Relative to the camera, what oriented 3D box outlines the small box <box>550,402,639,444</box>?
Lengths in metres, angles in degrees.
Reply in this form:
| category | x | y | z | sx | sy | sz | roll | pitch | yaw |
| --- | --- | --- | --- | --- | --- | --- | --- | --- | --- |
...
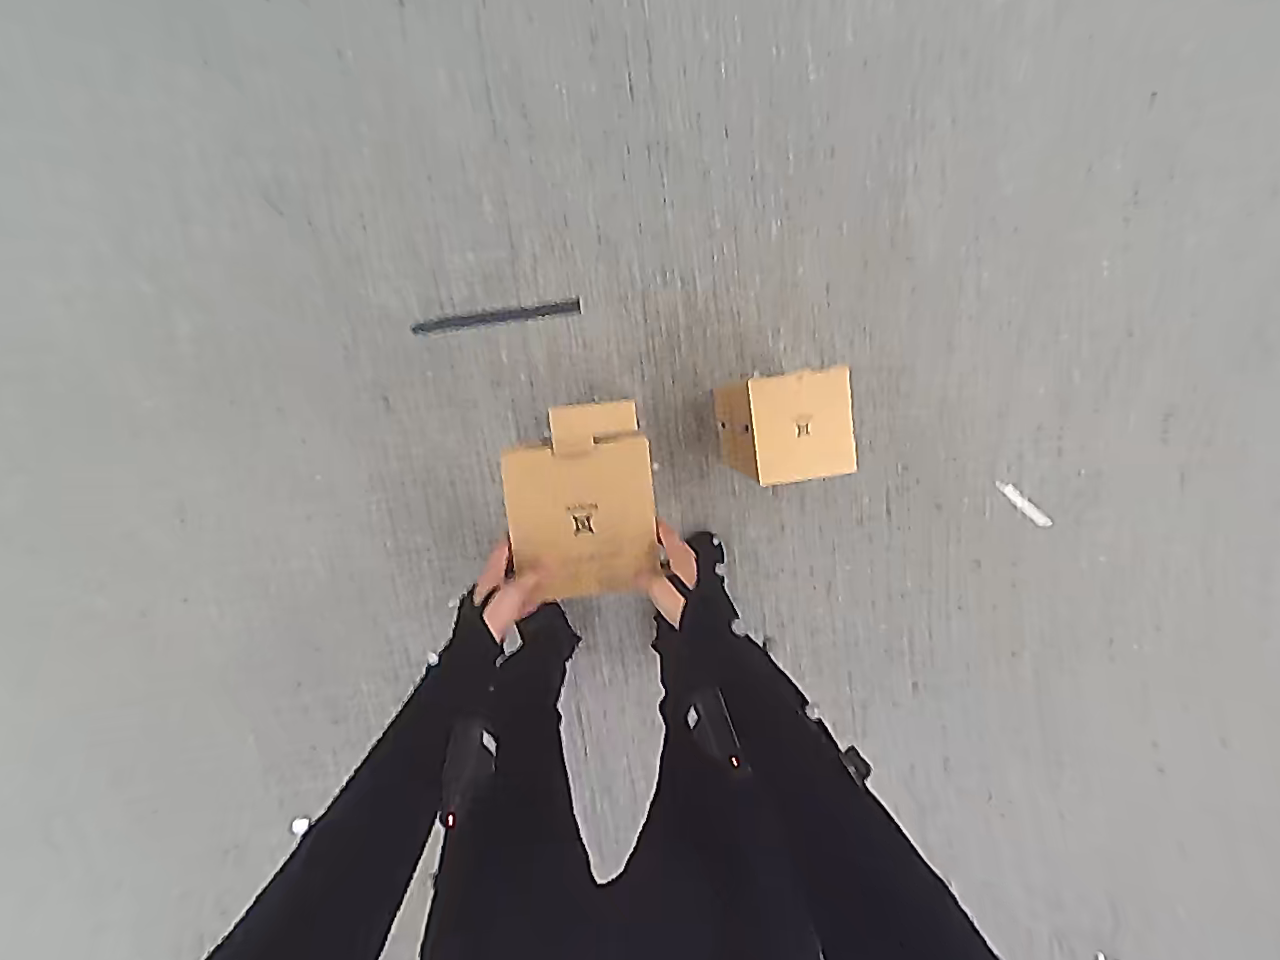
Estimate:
| category | x | y | z | sx | sy | sz | roll | pitch | yaw |
| --- | --- | --- | --- | --- | --- | --- | --- | --- | --- |
| small box | -0.085 | -0.064 | 1.105 | 0.168 | 0.176 | 0.179 | -6 | 99 | -1 |

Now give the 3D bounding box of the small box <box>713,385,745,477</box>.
| category | x | y | z | sx | sy | sz | roll | pitch | yaw |
| --- | --- | --- | --- | --- | --- | --- | --- | --- | --- |
| small box | 0.252 | -0.113 | 1.110 | 0.168 | 0.176 | 0.179 | -9 | 97 | -1 |

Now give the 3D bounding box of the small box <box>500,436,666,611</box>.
| category | x | y | z | sx | sy | sz | roll | pitch | yaw |
| --- | --- | --- | --- | --- | --- | --- | --- | --- | --- |
| small box | -0.065 | 0.041 | 0.658 | 0.168 | 0.176 | 0.179 | -6 | 97 | -3 |

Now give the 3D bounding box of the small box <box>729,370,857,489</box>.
| category | x | y | z | sx | sy | sz | roll | pitch | yaw |
| --- | --- | --- | --- | --- | --- | --- | --- | --- | --- |
| small box | 0.260 | -0.092 | 0.949 | 0.168 | 0.176 | 0.179 | -9 | 97 | -1 |
